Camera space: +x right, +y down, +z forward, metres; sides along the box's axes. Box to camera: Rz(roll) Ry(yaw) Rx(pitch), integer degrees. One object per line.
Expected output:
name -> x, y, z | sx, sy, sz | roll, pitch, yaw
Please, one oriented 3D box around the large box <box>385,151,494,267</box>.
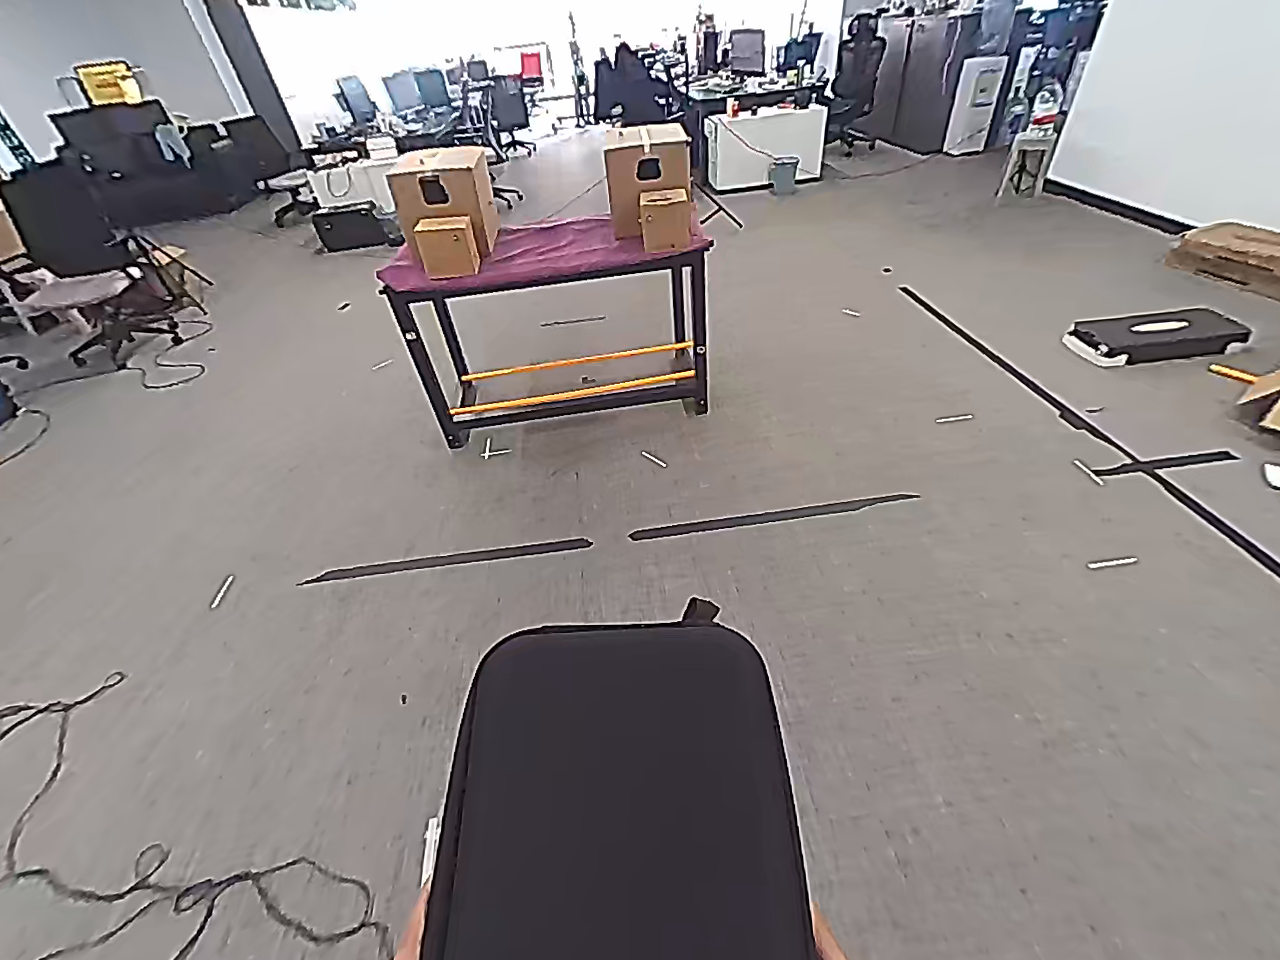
large box -> -0.779, -1.096, 2.174 | 0.320, 0.320, 0.408 | -8, 43, -3
